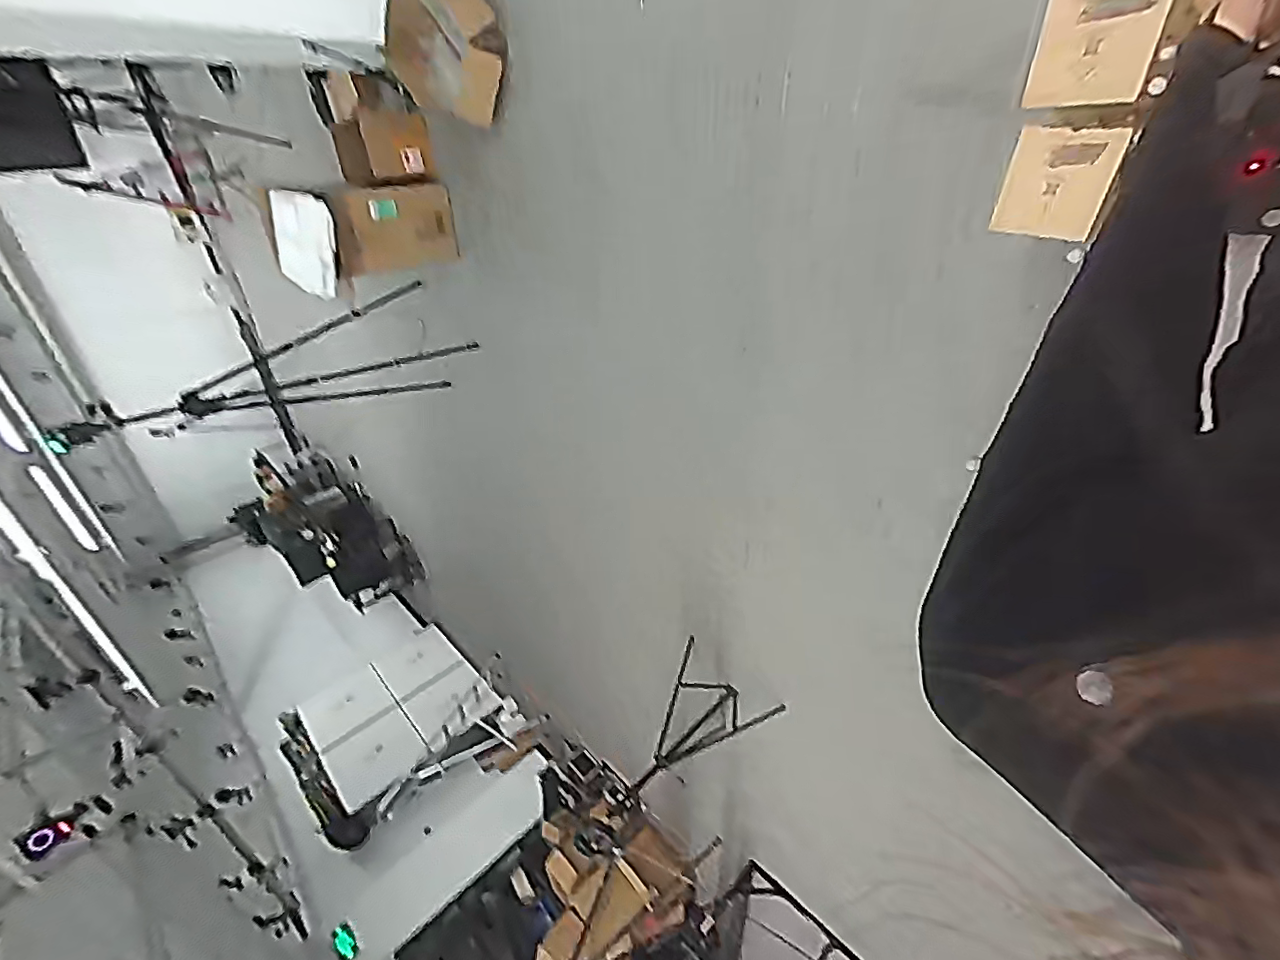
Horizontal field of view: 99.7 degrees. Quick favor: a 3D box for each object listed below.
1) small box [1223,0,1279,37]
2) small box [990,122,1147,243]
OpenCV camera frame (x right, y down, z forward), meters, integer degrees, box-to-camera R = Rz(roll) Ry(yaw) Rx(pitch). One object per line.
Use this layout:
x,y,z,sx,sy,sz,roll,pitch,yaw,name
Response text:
0.569,-0.498,0.432,0.179,0.176,0.168,60,148,2,small box
0.800,-0.562,1.011,0.168,0.176,0.179,31,137,36,small box
